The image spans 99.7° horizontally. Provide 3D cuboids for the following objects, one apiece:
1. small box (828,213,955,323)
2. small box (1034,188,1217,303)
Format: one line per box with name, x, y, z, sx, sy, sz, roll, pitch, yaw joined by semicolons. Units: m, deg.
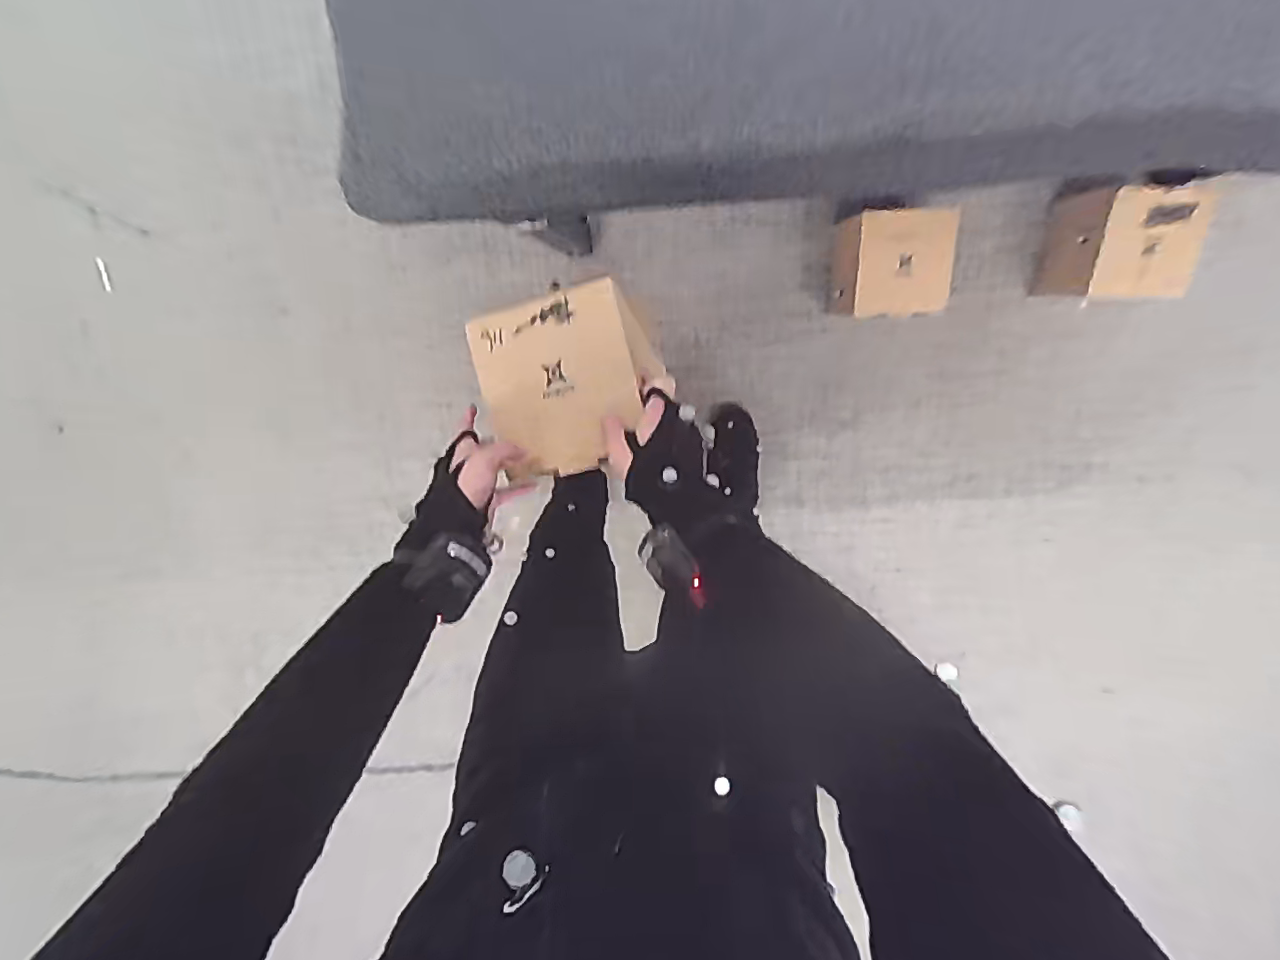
small box;0.463;-0.391;1.023;0.168;0.176;0.179;-2;105;3
small box;0.863;-0.417;0.983;0.168;0.176;0.179;2;108;4
